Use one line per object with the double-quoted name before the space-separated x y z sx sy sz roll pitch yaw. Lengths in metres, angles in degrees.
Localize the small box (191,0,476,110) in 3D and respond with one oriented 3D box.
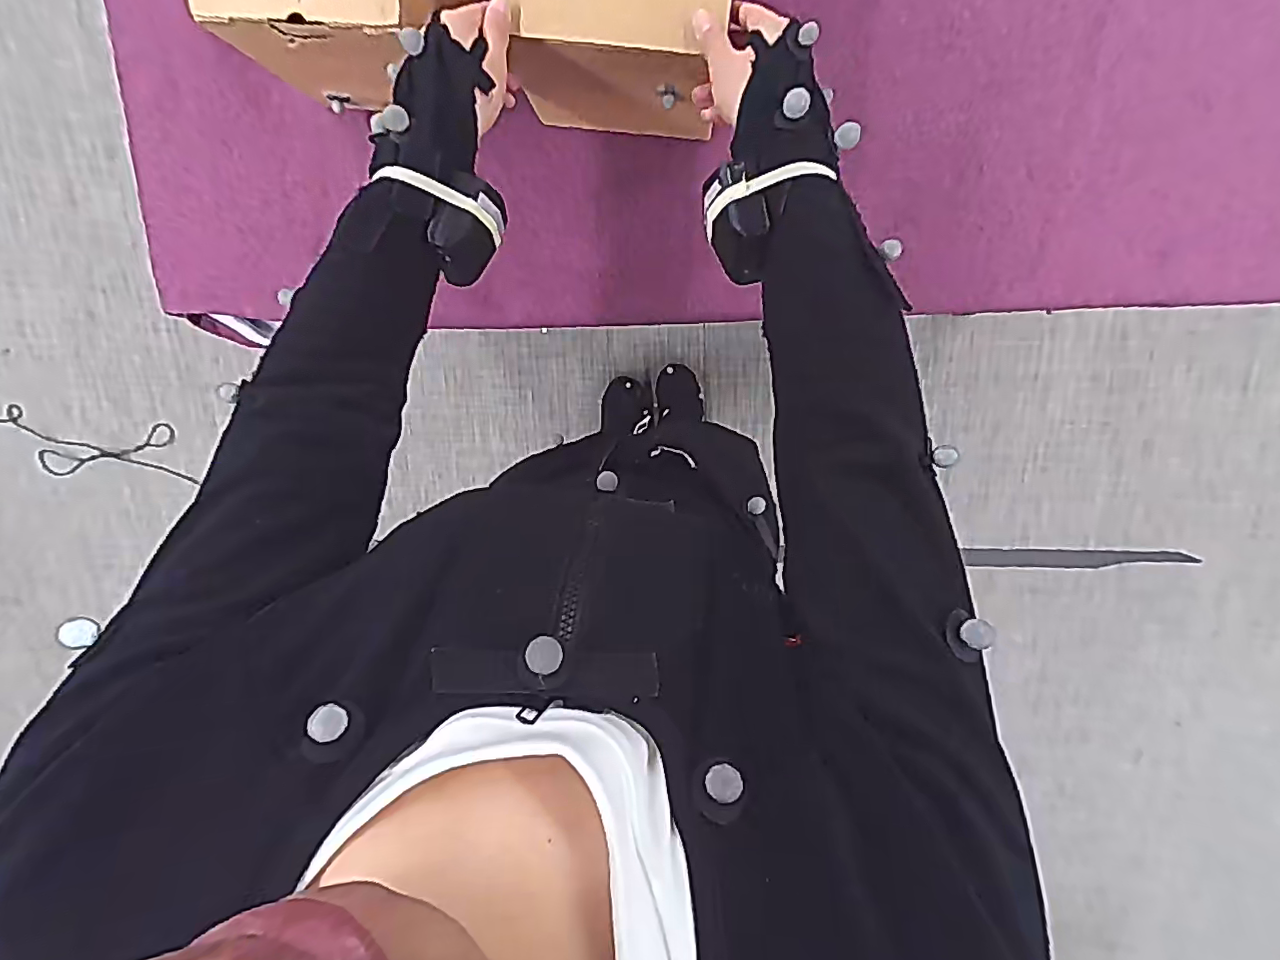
"small box" -0.246 -0.447 0.462 0.168 0.176 0.179 5 104 2
